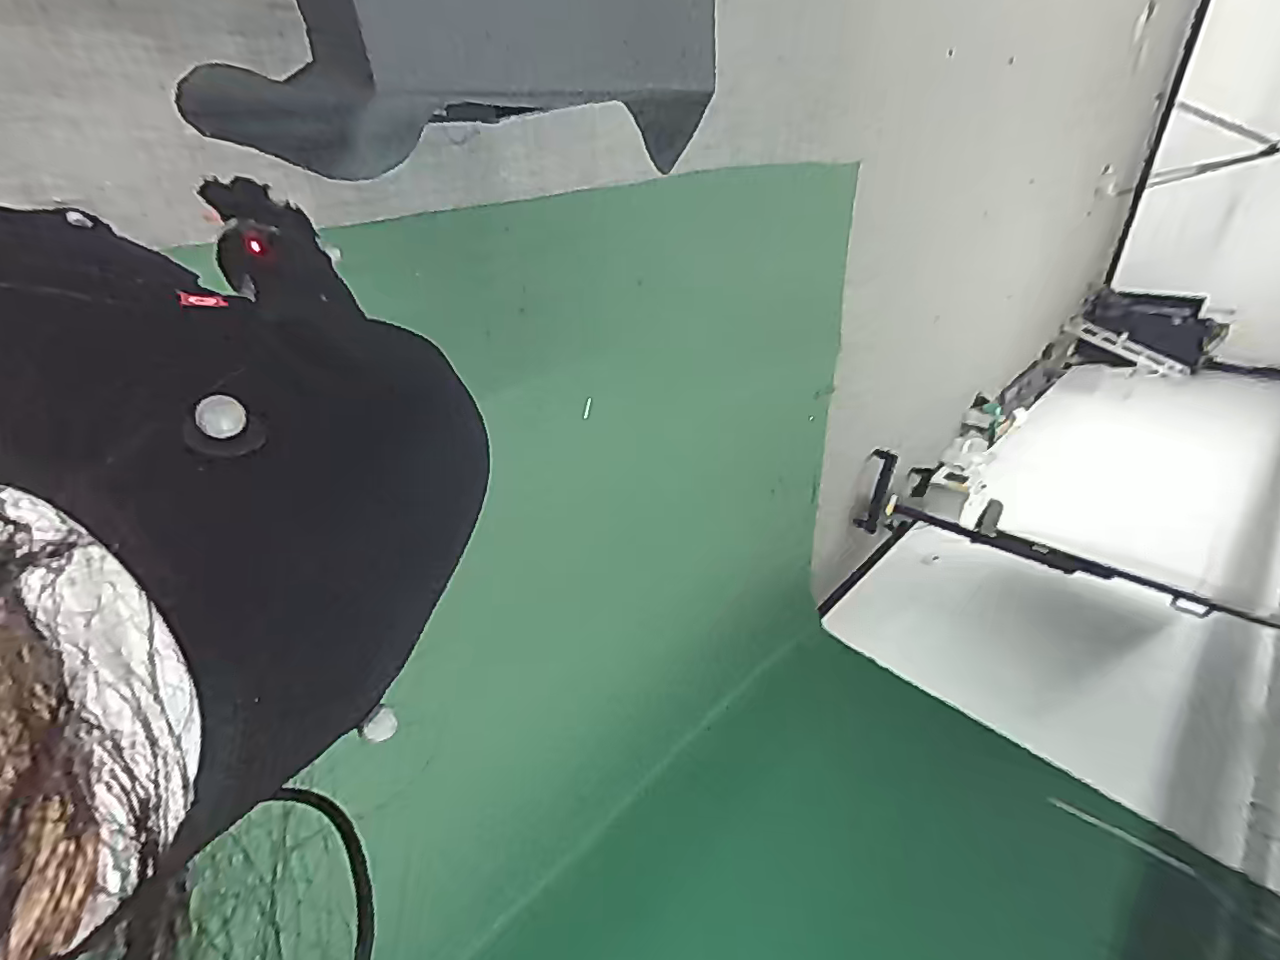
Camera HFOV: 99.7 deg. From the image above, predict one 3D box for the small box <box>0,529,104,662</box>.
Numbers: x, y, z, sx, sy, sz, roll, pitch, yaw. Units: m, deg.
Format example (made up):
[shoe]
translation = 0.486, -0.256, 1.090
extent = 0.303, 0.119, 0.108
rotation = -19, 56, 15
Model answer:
[small box]
translation = -1.191, 0.213, 1.049
extent = 0.168, 0.176, 0.179
rotation = -24, 125, -36
